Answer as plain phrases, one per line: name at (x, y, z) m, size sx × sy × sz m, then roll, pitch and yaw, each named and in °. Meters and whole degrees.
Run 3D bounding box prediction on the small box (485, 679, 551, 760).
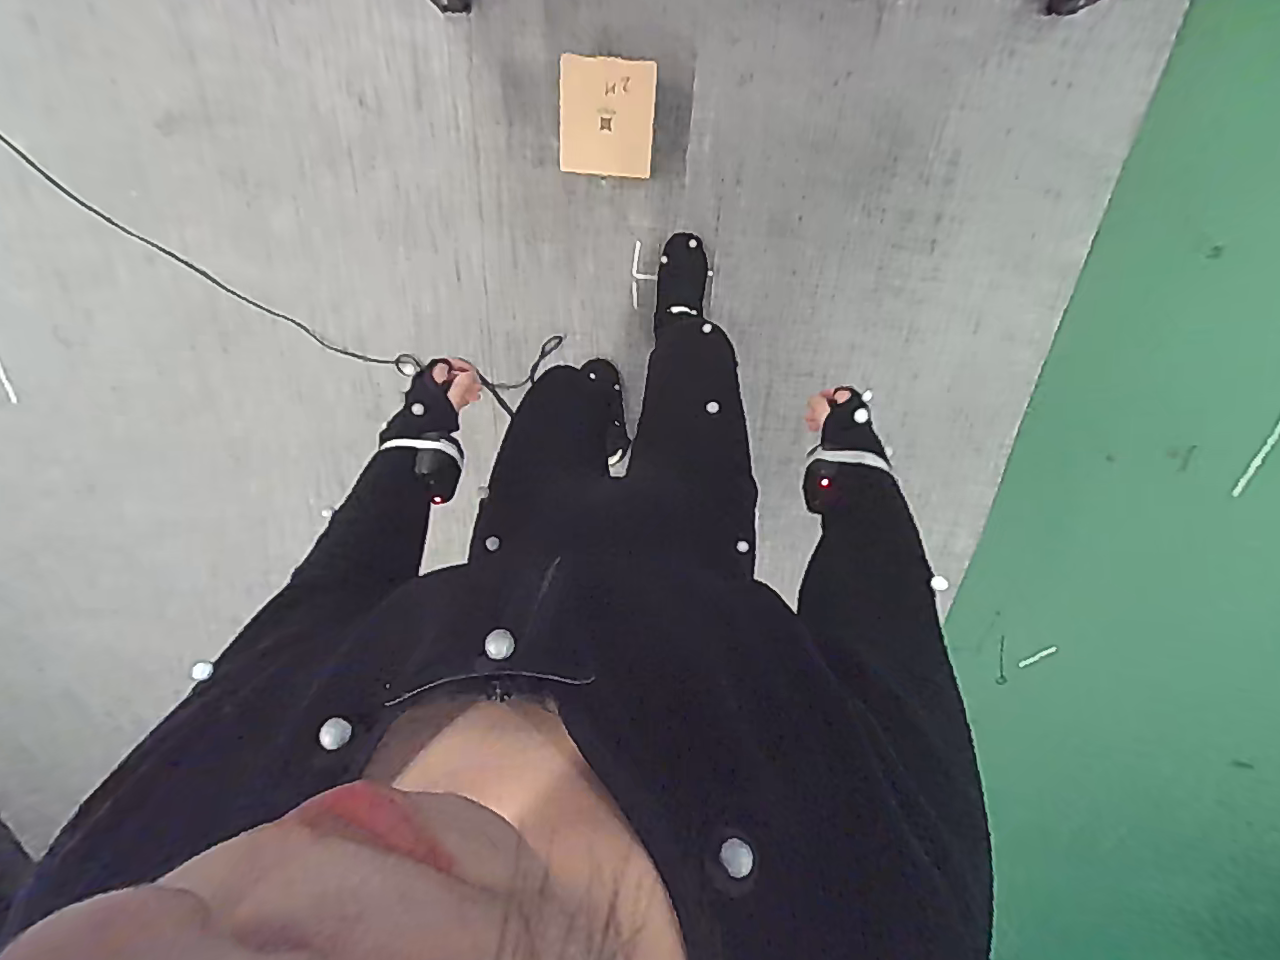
small box at (-0.377, 0.754, 1.709) m, size 0.179 × 0.176 × 0.168 m, roll 3°, pitch 116°, yaw 0°
